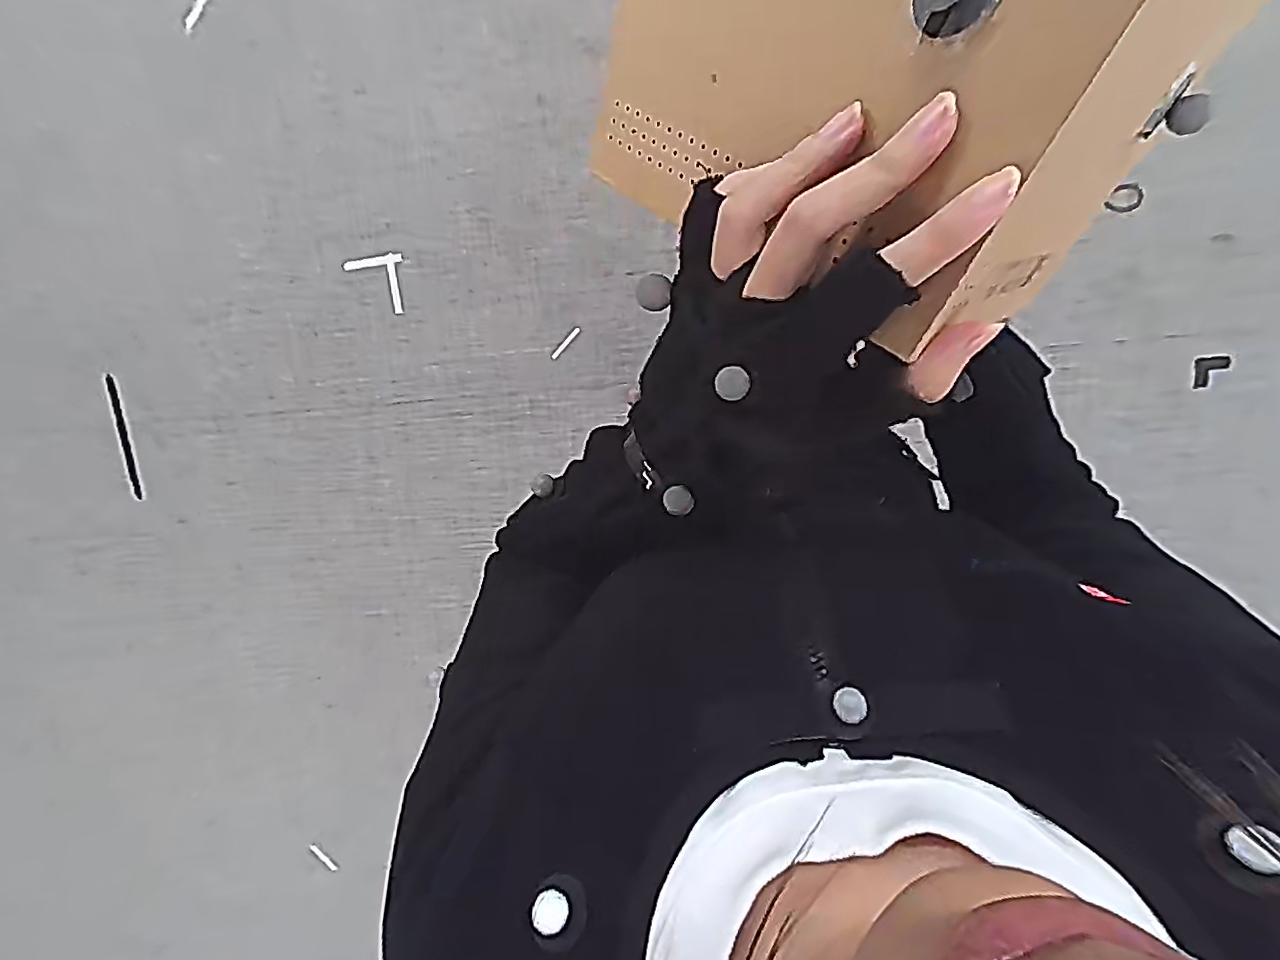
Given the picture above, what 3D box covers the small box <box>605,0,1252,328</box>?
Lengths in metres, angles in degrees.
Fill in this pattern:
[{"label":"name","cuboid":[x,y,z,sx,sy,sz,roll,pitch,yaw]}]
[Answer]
[{"label":"small box","cuboid":[0.112,-0.176,0.225,0.179,0.168,0.176,42,134,25]}]
